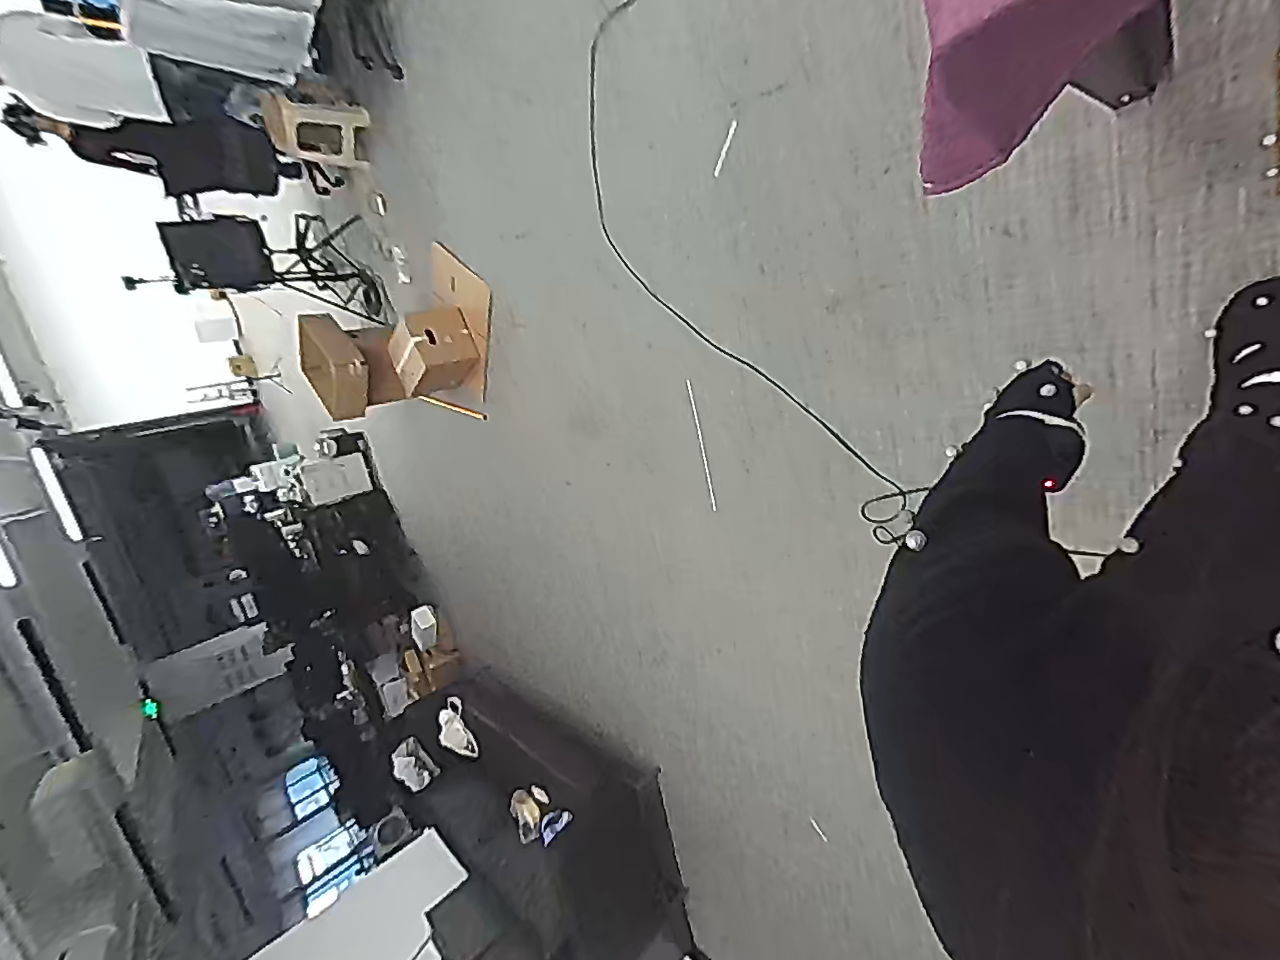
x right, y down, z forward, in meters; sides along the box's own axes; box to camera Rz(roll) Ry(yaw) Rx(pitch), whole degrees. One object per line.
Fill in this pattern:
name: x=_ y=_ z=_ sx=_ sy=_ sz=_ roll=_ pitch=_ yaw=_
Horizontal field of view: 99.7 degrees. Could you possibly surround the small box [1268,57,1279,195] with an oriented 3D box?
small box: x=0.988 y=-0.509 z=0.735 sx=0.168 sy=0.176 sz=0.179 roll=2 pitch=109 yaw=50
